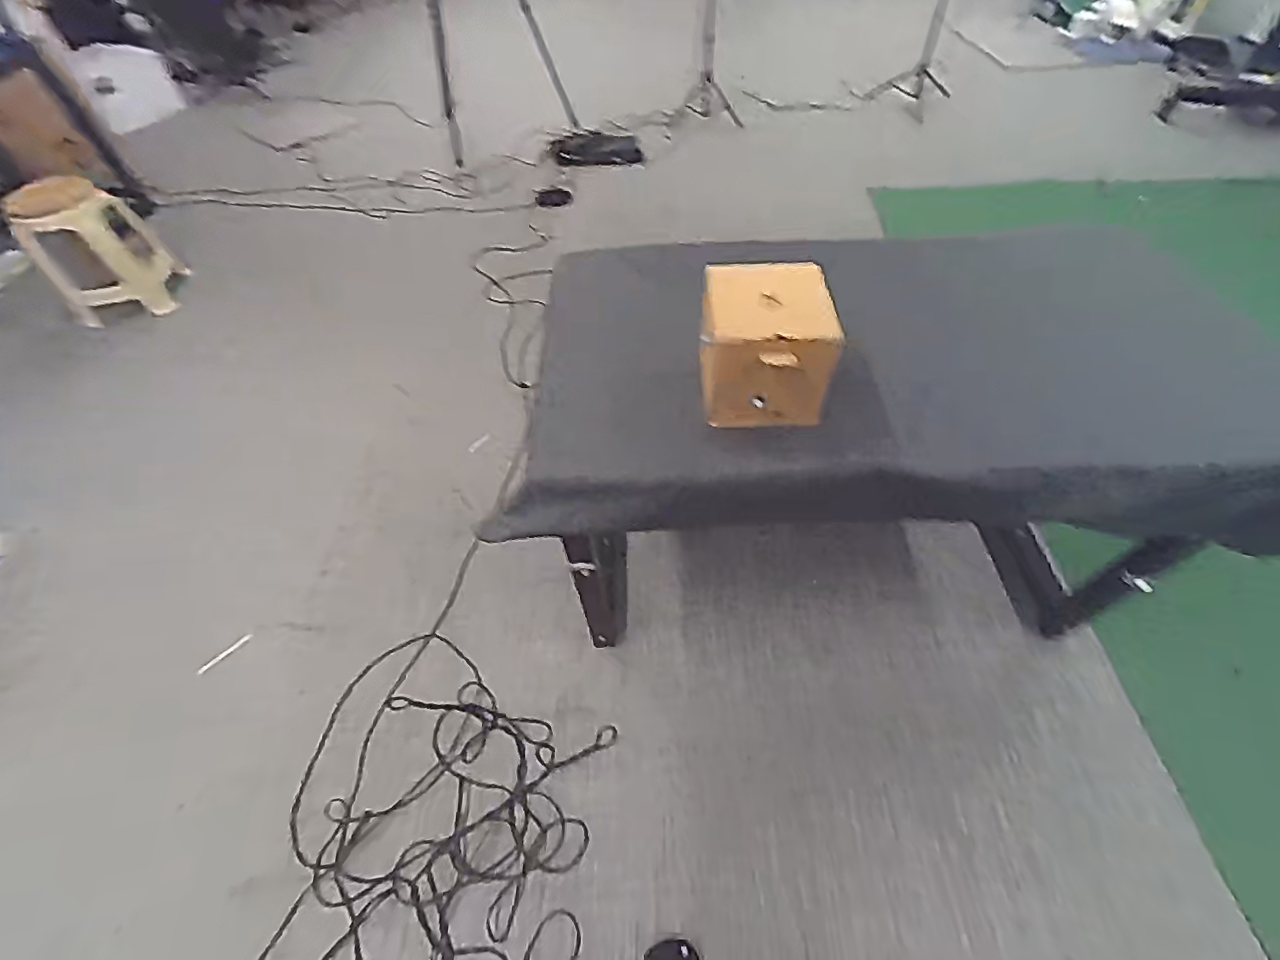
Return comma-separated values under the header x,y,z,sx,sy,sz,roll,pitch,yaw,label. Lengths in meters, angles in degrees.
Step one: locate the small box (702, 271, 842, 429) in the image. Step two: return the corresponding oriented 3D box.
x,y,z,sx,sy,sz,roll,pitch,yaw,label
0.187,-0.199,0.830,0.168,0.176,0.179,-1,53,1,small box
